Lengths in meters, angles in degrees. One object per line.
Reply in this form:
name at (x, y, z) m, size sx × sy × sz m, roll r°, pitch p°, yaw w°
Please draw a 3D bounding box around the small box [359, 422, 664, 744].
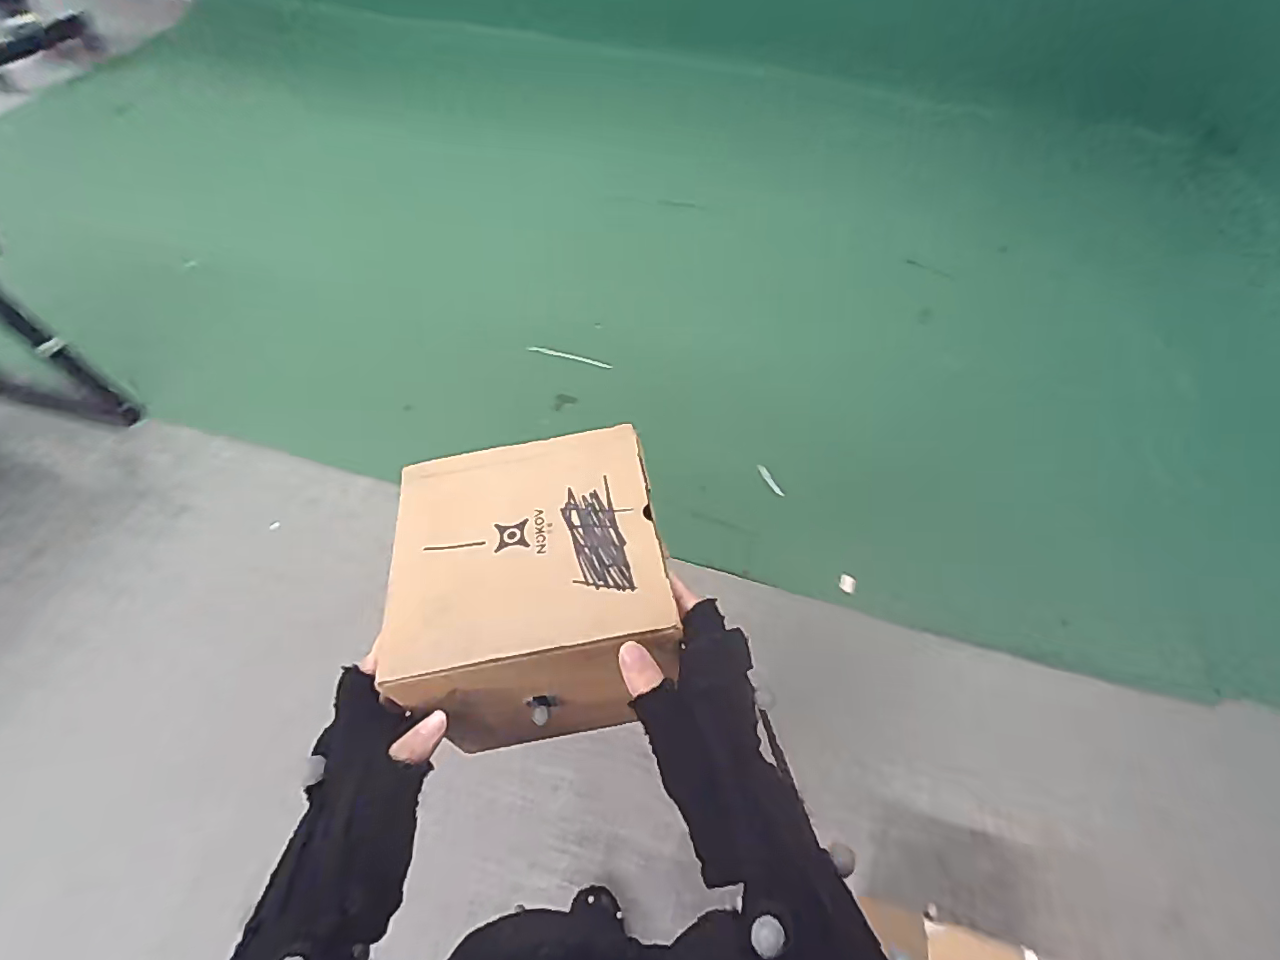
small box at (-0.080, 0.084, 0.417) m, size 0.179 × 0.176 × 0.168 m, roll -12°, pitch 52°, yaw -2°
